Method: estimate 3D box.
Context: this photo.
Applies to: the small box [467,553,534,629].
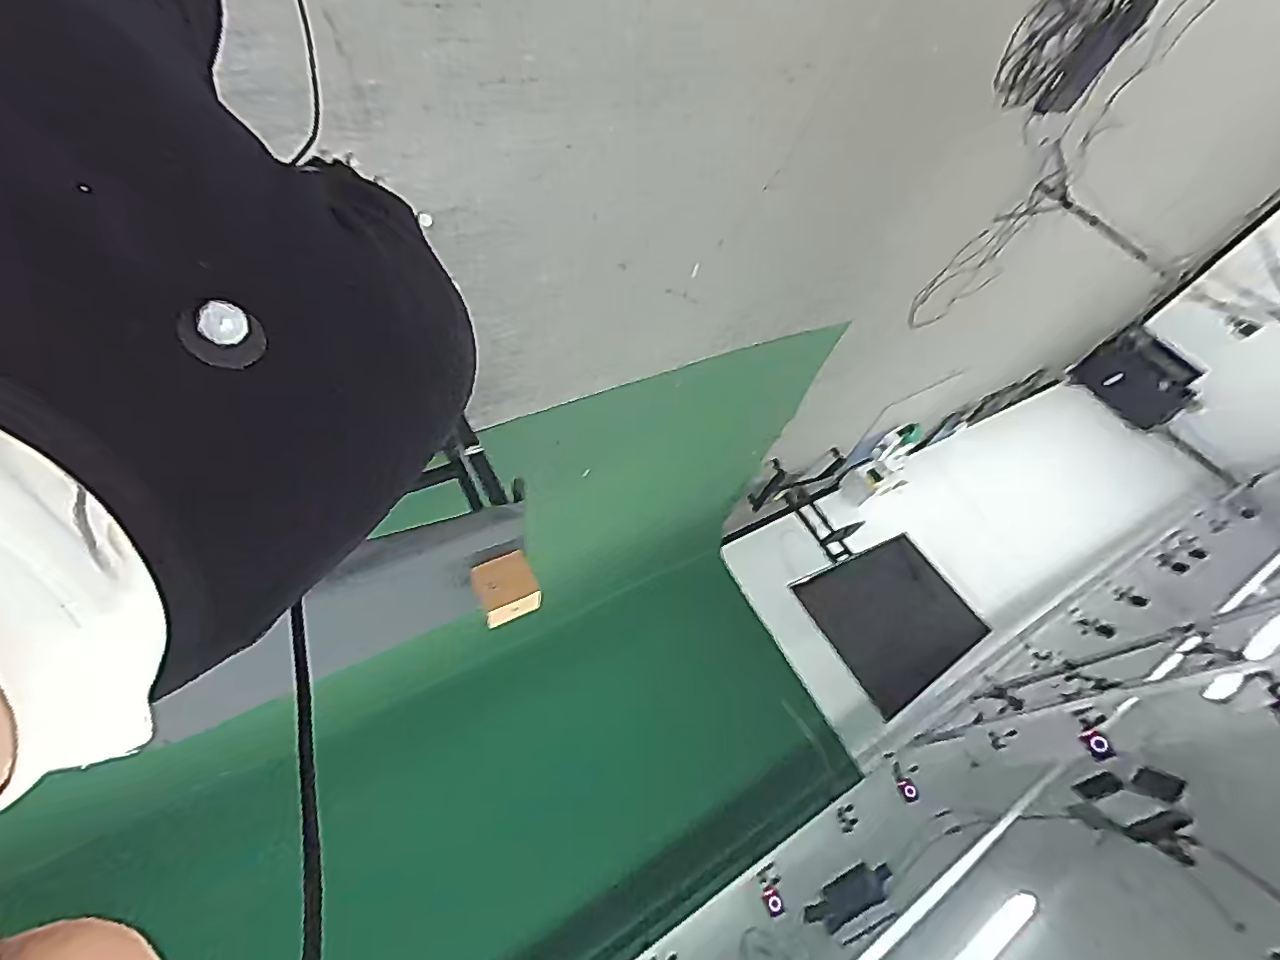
[{"bbox_3d":[-0.476,0.373,1.830,0.179,0.176,0.168,-19,155,-26],"label":"small box"}]
